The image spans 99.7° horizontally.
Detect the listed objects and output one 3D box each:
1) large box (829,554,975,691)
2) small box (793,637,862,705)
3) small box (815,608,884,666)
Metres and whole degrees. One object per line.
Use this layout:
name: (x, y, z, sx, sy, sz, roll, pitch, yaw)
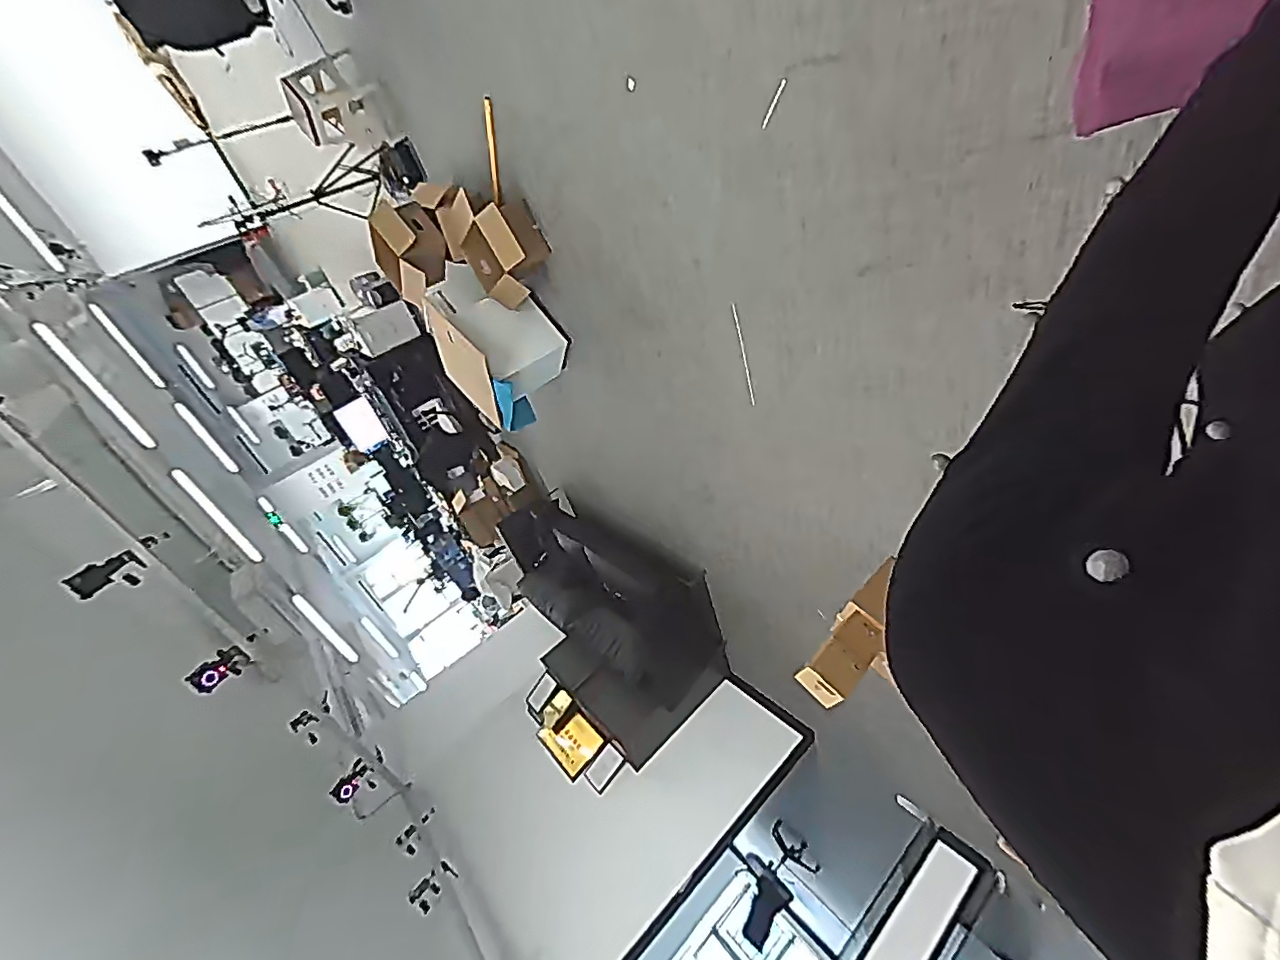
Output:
large box: (1.088, 0.594, 2.283, 0.408, 0.320, 0.320, 39, 153, 26)
small box: (0.736, 0.740, 2.110, 0.168, 0.176, 0.179, 43, 153, 20)
small box: (0.851, 0.653, 2.187, 0.168, 0.176, 0.179, 43, 152, 20)
